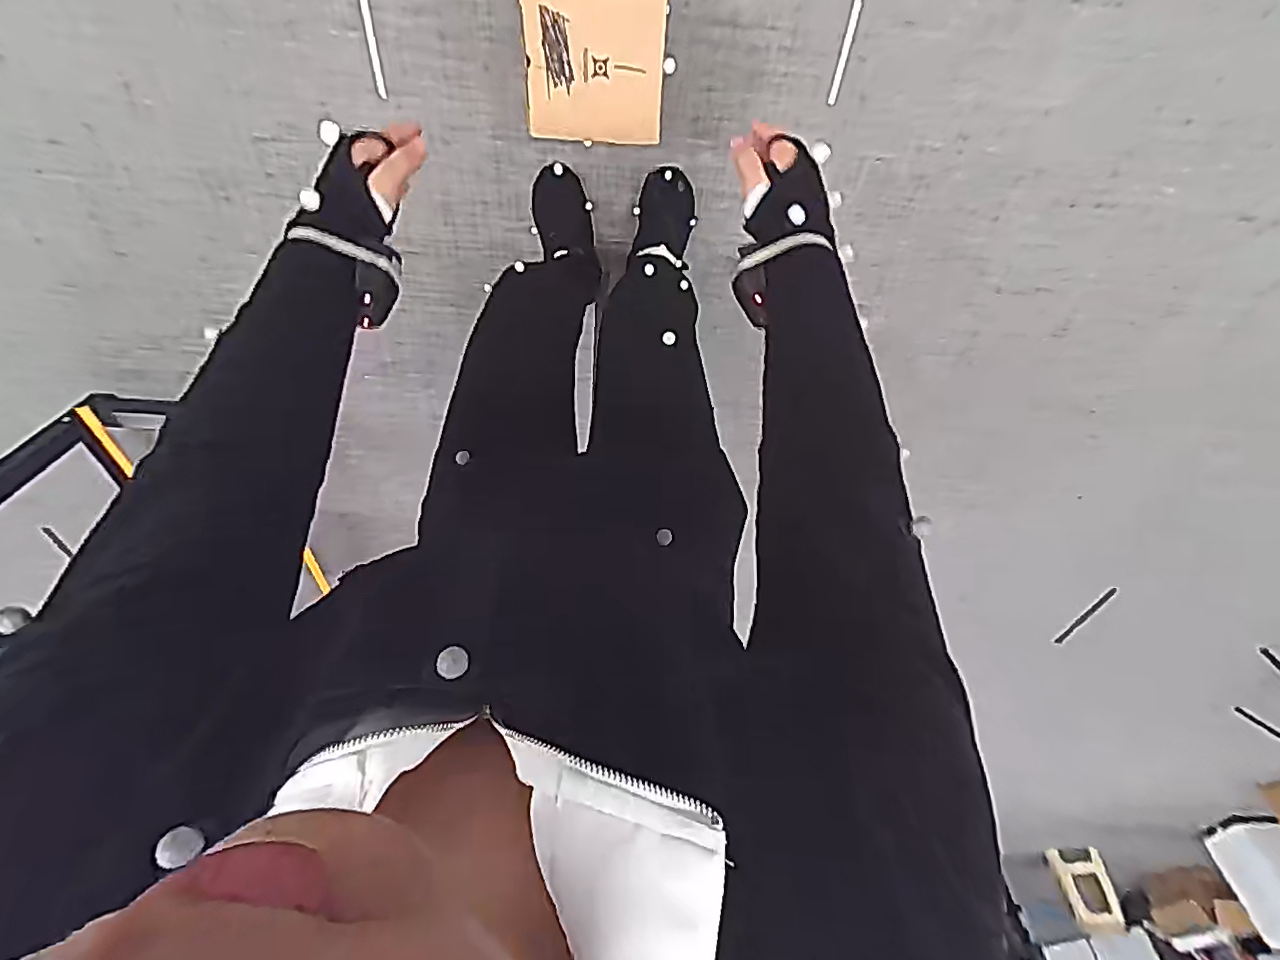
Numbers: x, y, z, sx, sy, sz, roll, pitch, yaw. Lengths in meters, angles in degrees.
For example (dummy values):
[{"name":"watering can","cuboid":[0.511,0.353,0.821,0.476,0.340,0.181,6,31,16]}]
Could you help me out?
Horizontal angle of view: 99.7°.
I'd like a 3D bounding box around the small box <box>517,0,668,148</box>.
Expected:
[{"name":"small box","cuboid":[-0.057,-0.564,0.726,0.179,0.176,0.168,3,134,-1]}]
